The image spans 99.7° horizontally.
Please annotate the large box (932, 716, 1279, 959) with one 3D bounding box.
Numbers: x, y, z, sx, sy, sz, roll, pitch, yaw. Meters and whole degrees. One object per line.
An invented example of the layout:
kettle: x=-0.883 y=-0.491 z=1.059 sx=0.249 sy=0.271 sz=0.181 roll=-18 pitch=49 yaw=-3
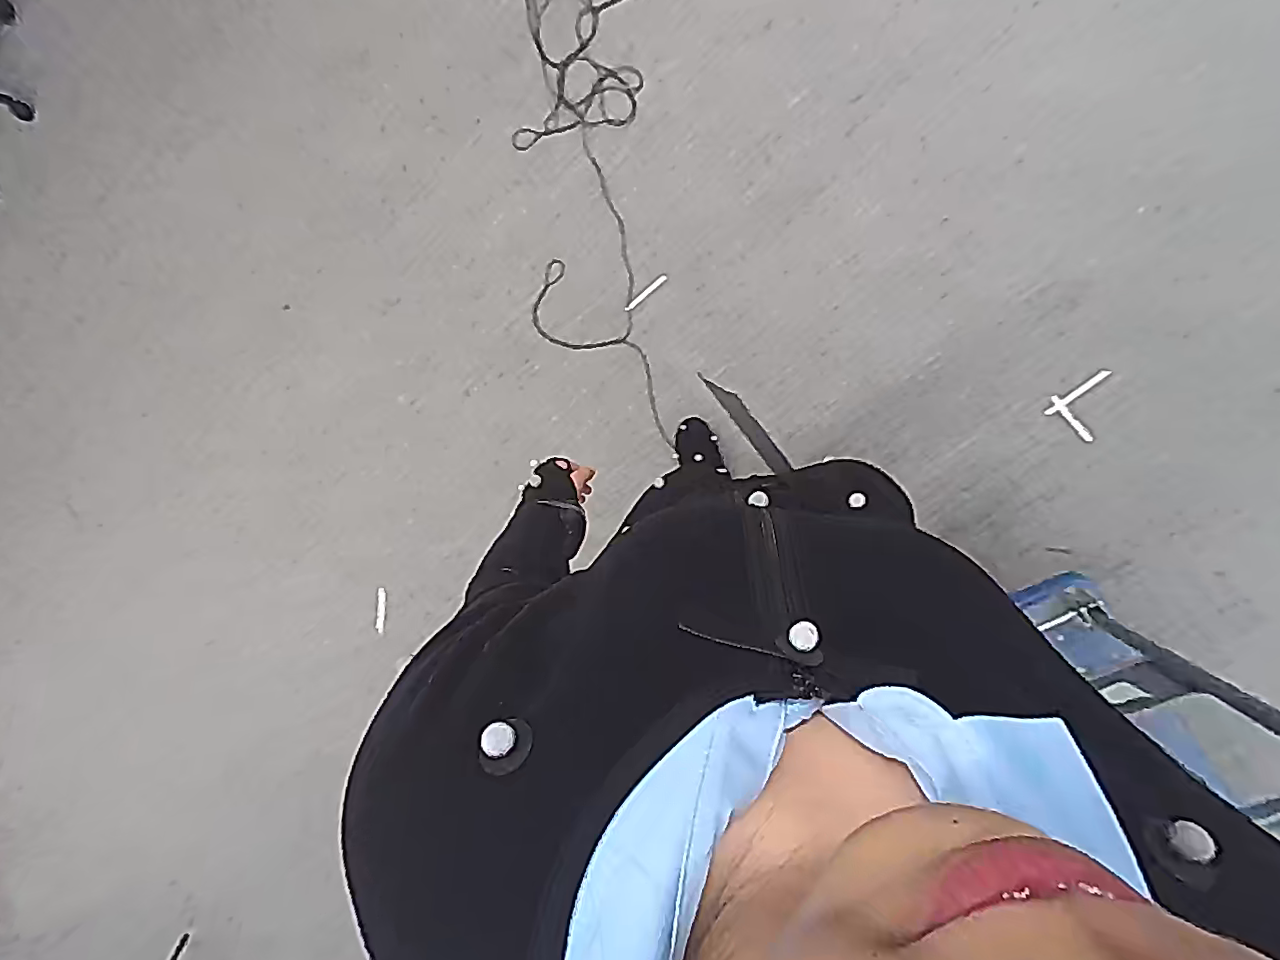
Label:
large box: x=0.884 y=0.746 z=1.064 sx=0.408 sy=0.320 sz=0.320 roll=-31 pitch=89 yaw=12
